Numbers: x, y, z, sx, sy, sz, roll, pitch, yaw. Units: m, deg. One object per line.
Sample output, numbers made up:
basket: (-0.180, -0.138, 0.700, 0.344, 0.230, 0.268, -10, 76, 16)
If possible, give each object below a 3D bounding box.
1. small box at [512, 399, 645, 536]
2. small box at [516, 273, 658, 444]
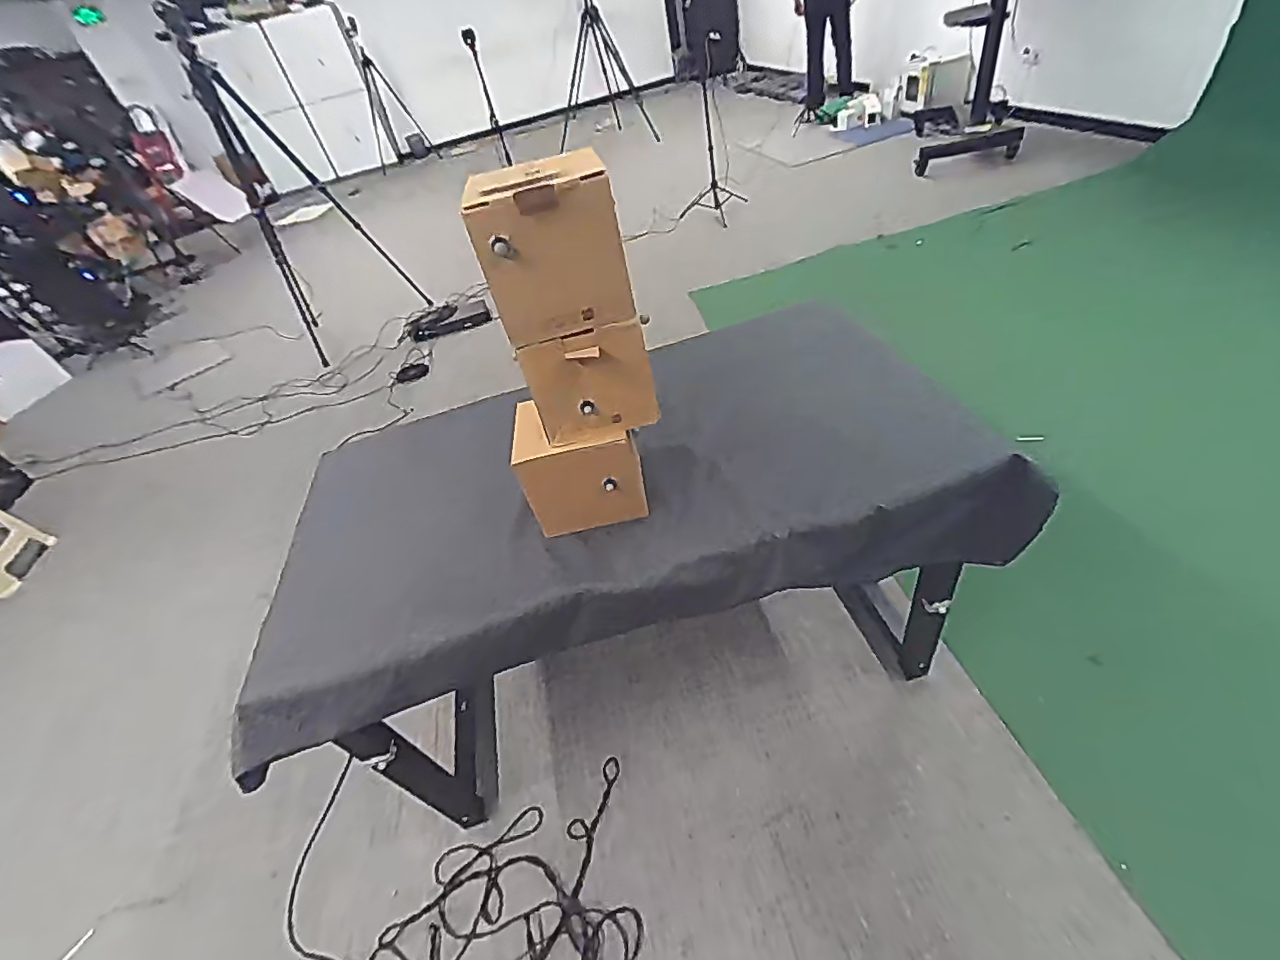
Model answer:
small box: (-0.093, -0.032, 0.889, 0.179, 0.176, 0.168, -13, 41, 4)
small box: (-0.075, -0.180, 0.801, 0.168, 0.176, 0.179, -13, 41, 1)
